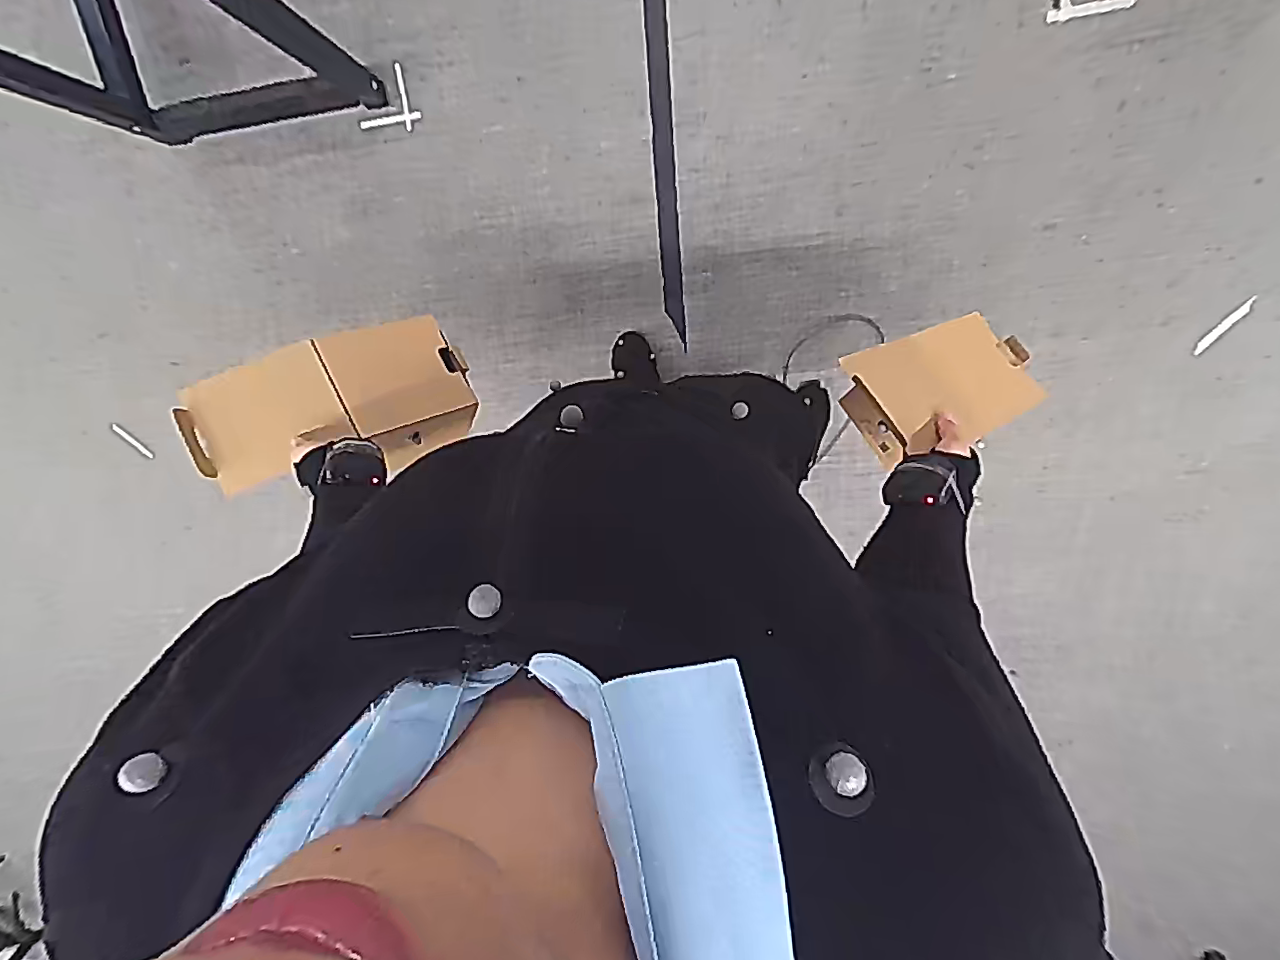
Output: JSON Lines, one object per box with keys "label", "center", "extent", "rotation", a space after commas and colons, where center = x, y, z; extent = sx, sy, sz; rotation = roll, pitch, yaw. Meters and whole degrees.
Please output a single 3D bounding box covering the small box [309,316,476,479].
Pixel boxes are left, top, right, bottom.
{"label": "small box", "center": [-0.380, -0.122, 0.836], "extent": [0.179, 0.176, 0.168], "rotation": [-24, 82, -32]}
